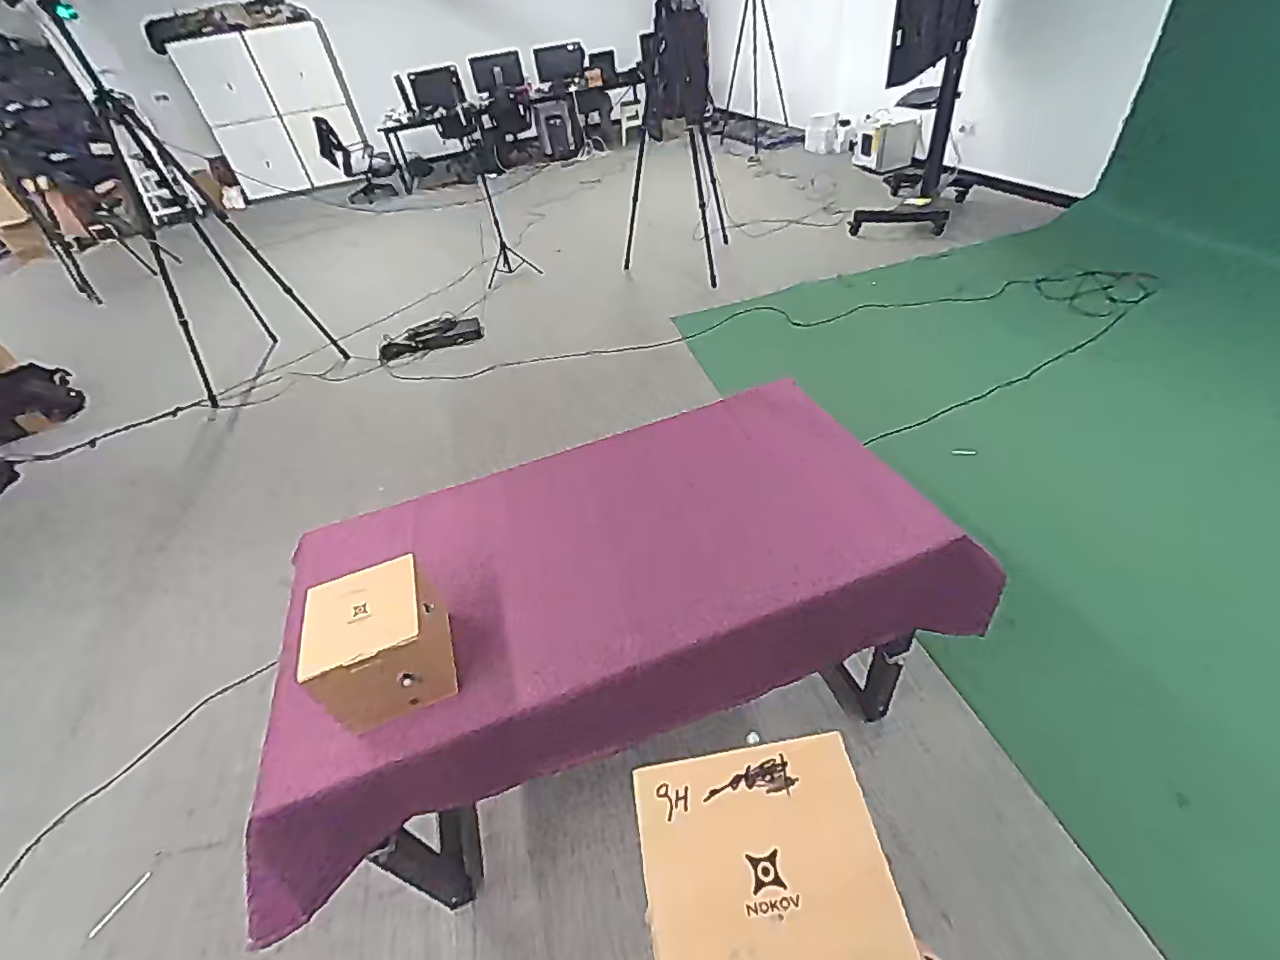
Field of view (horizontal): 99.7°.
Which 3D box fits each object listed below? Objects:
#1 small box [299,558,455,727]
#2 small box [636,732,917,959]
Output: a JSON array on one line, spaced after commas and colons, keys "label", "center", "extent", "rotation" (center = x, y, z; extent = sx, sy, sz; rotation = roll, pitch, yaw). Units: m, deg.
[{"label": "small box", "center": [-0.404, 0.261, 0.855], "extent": [0.168, 0.176, 0.179], "rotation": [-19, 41, -11]}, {"label": "small box", "center": [0.097, 0.324, 0.430], "extent": [0.168, 0.176, 0.179], "rotation": [-11, 51, 0]}]
